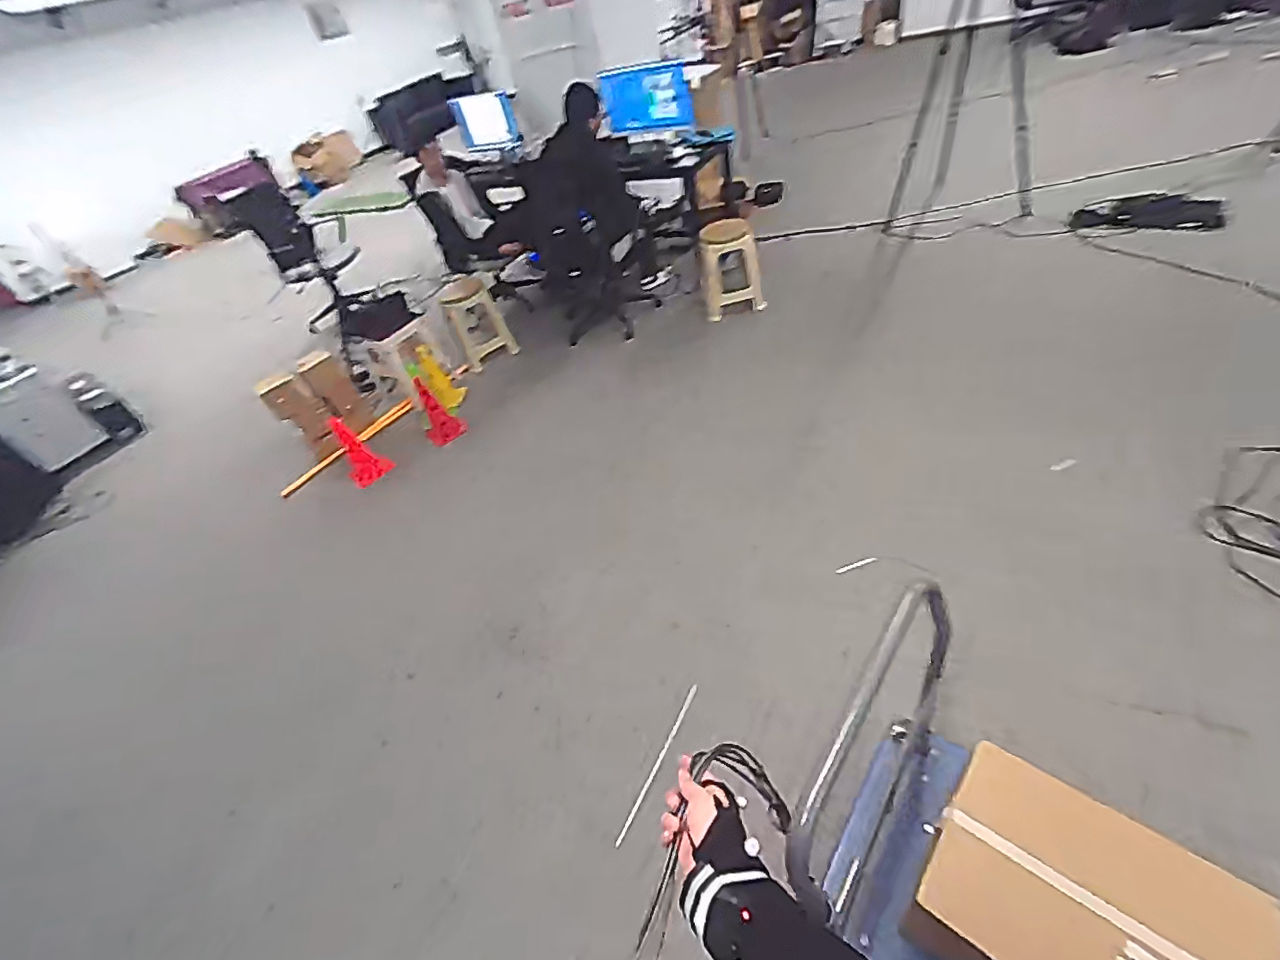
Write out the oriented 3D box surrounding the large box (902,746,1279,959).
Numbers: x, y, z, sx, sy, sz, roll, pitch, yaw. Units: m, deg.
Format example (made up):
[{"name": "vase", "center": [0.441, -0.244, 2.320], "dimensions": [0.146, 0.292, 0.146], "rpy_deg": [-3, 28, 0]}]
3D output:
[{"name": "large box", "center": [0.722, 0.749, 0.914], "dimensions": [0.408, 0.320, 0.320], "rpy_deg": [25, 58, 35]}]
